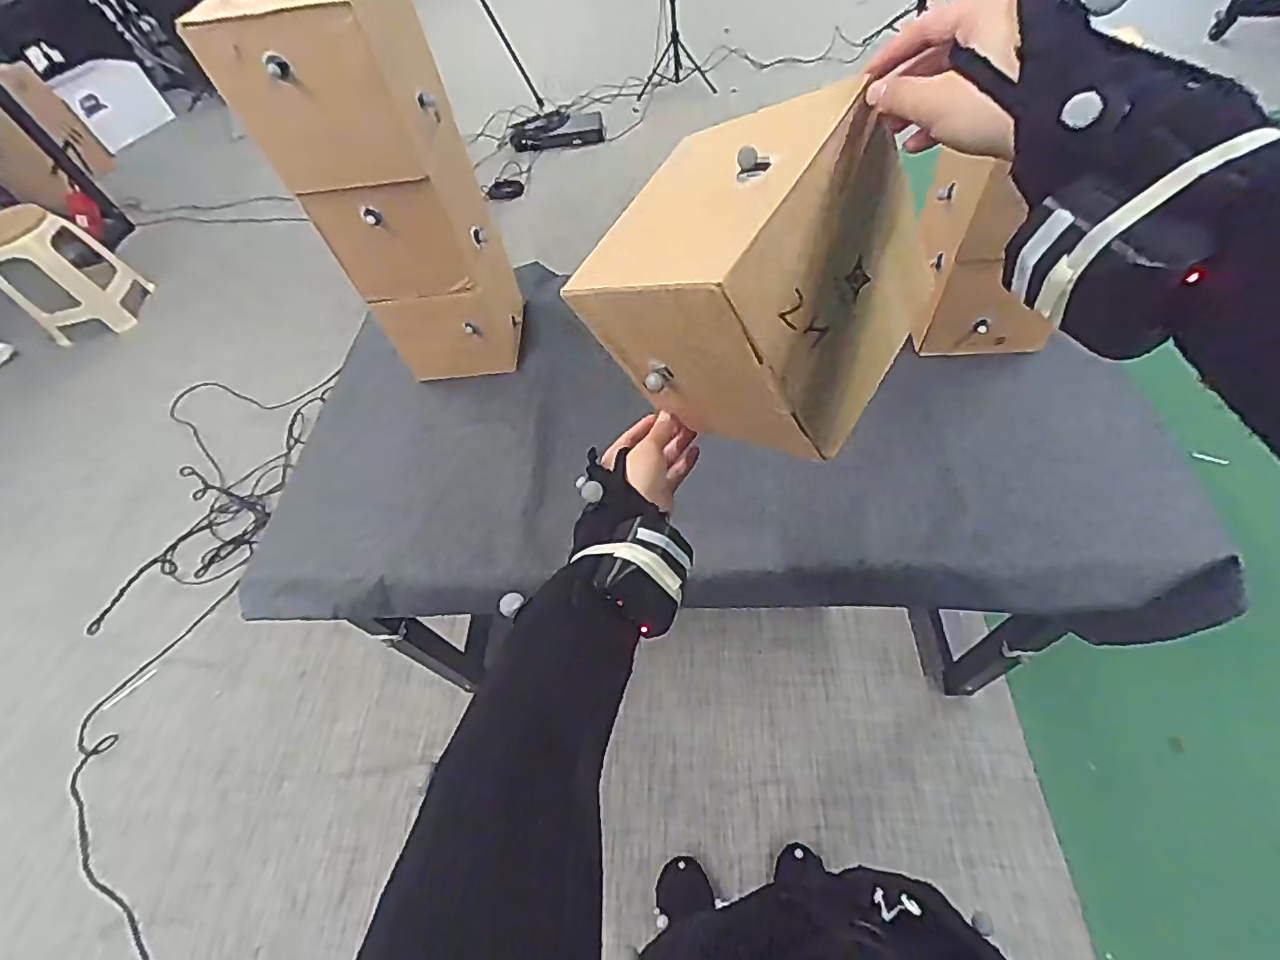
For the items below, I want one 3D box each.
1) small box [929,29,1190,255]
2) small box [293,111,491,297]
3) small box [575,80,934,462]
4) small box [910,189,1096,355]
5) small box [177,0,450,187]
[{"bbox_3d":[0.467,-0.386,0.640,0.168,0.176,0.179,0,59,9],"label":"small box"},{"bbox_3d":[-0.327,-0.375,0.753,0.179,0.176,0.168,-5,58,4],"label":"small box"},{"bbox_3d":[0.084,-0.144,0.408,0.176,0.168,0.179,23,72,50],"label":"small box"},{"bbox_3d":[0.491,-0.303,0.779,0.168,0.176,0.179,0,58,9],"label":"small box"},{"bbox_3d":[-0.342,-0.456,0.610,0.179,0.176,0.168,-3,58,5],"label":"small box"}]
